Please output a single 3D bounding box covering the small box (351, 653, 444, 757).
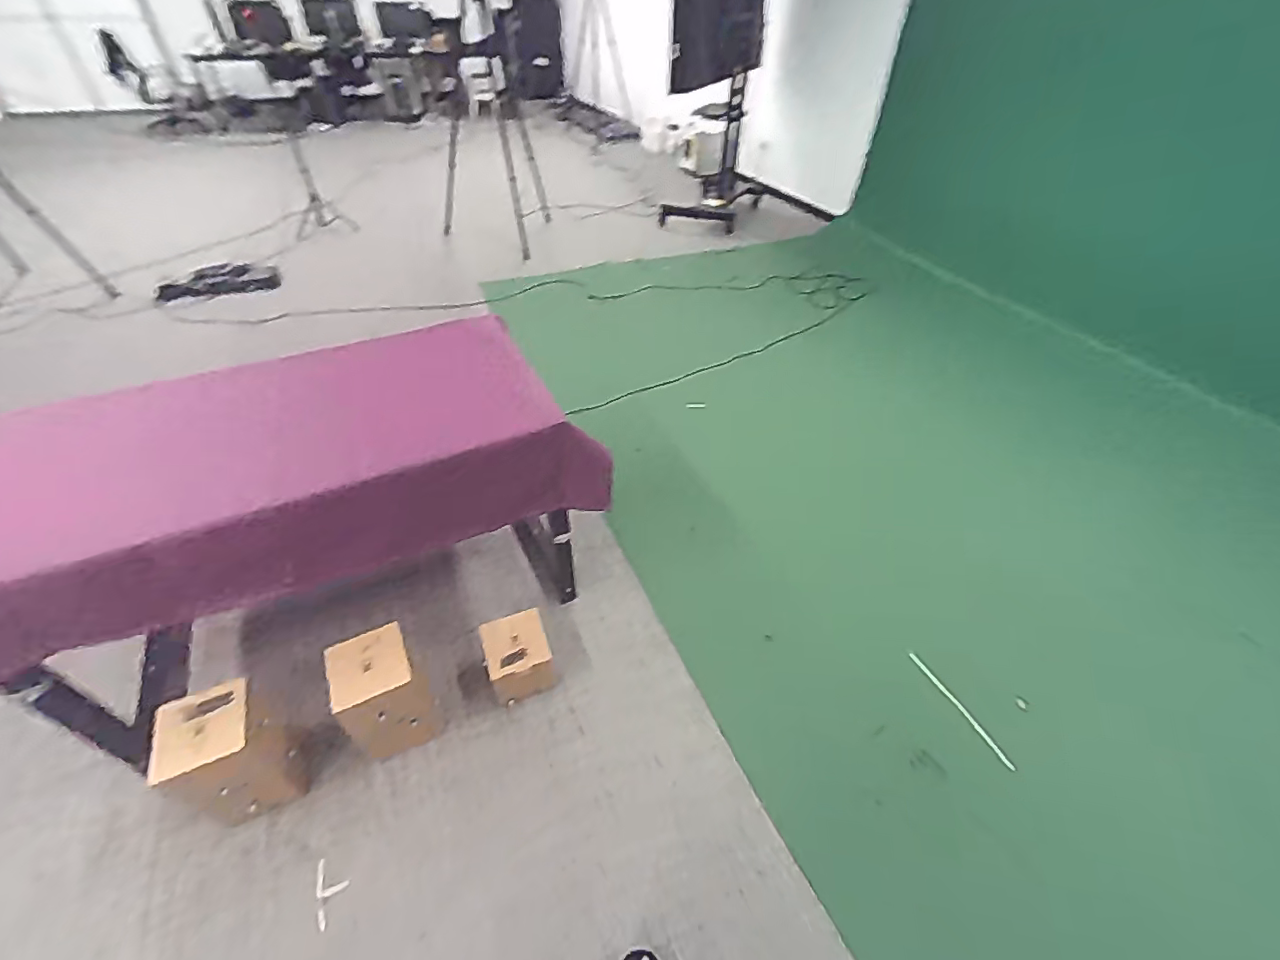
[{"bbox_3d":[-0.639,0.598,1.431,0.179,0.176,0.168,-17,47,-20],"label":"small box"}]
